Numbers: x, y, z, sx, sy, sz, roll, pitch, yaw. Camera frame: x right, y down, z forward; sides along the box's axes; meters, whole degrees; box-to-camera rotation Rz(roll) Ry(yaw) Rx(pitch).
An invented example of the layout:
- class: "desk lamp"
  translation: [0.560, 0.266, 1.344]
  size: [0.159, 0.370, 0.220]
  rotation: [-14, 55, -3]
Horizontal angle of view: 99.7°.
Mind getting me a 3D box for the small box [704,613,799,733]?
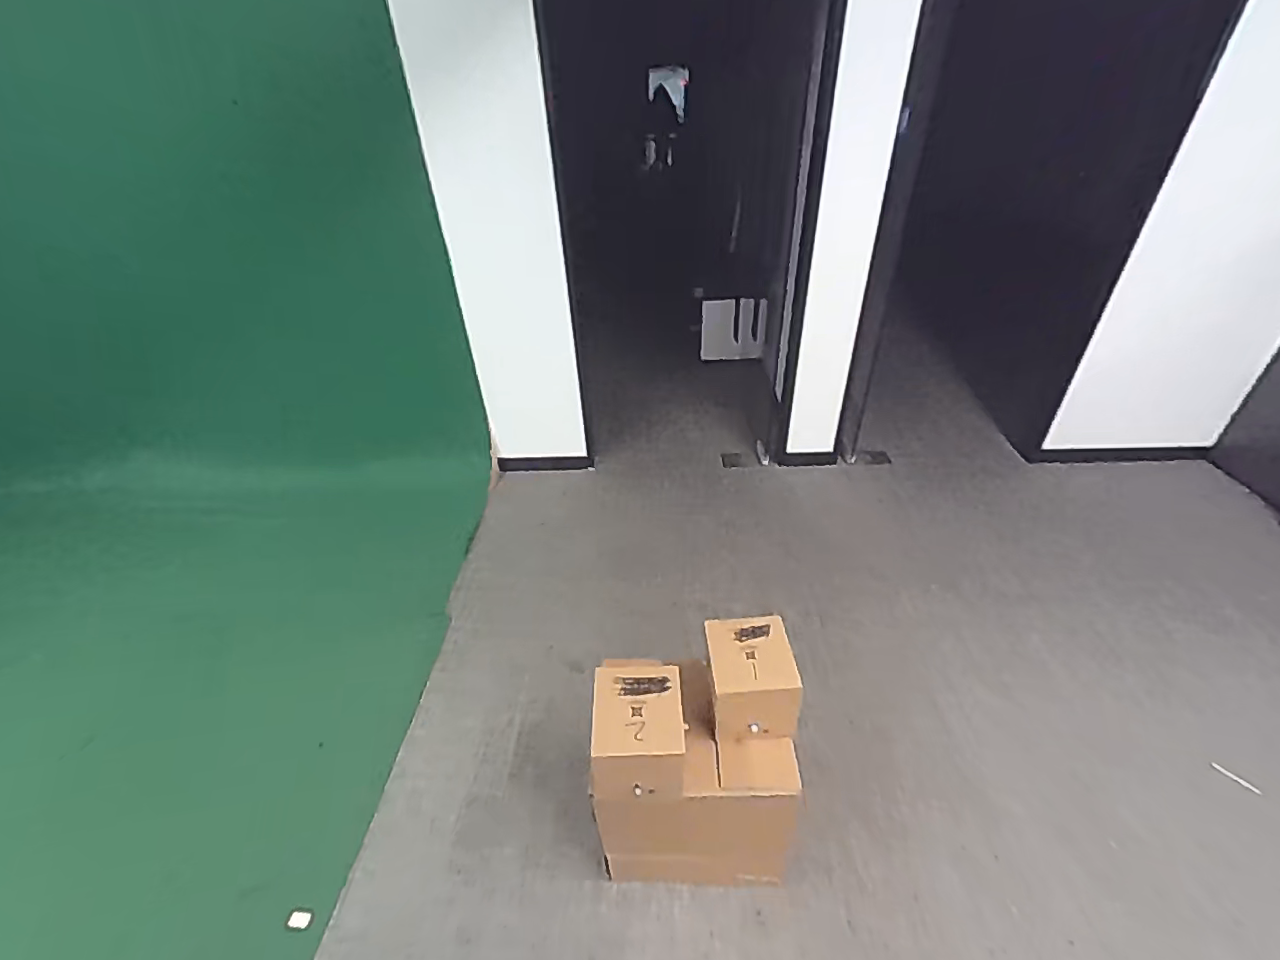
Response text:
- class: "small box"
  translation: [0.224, 0.404, 1.135]
  size: [0.168, 0.176, 0.179]
  rotation: [-4, 37, 2]
